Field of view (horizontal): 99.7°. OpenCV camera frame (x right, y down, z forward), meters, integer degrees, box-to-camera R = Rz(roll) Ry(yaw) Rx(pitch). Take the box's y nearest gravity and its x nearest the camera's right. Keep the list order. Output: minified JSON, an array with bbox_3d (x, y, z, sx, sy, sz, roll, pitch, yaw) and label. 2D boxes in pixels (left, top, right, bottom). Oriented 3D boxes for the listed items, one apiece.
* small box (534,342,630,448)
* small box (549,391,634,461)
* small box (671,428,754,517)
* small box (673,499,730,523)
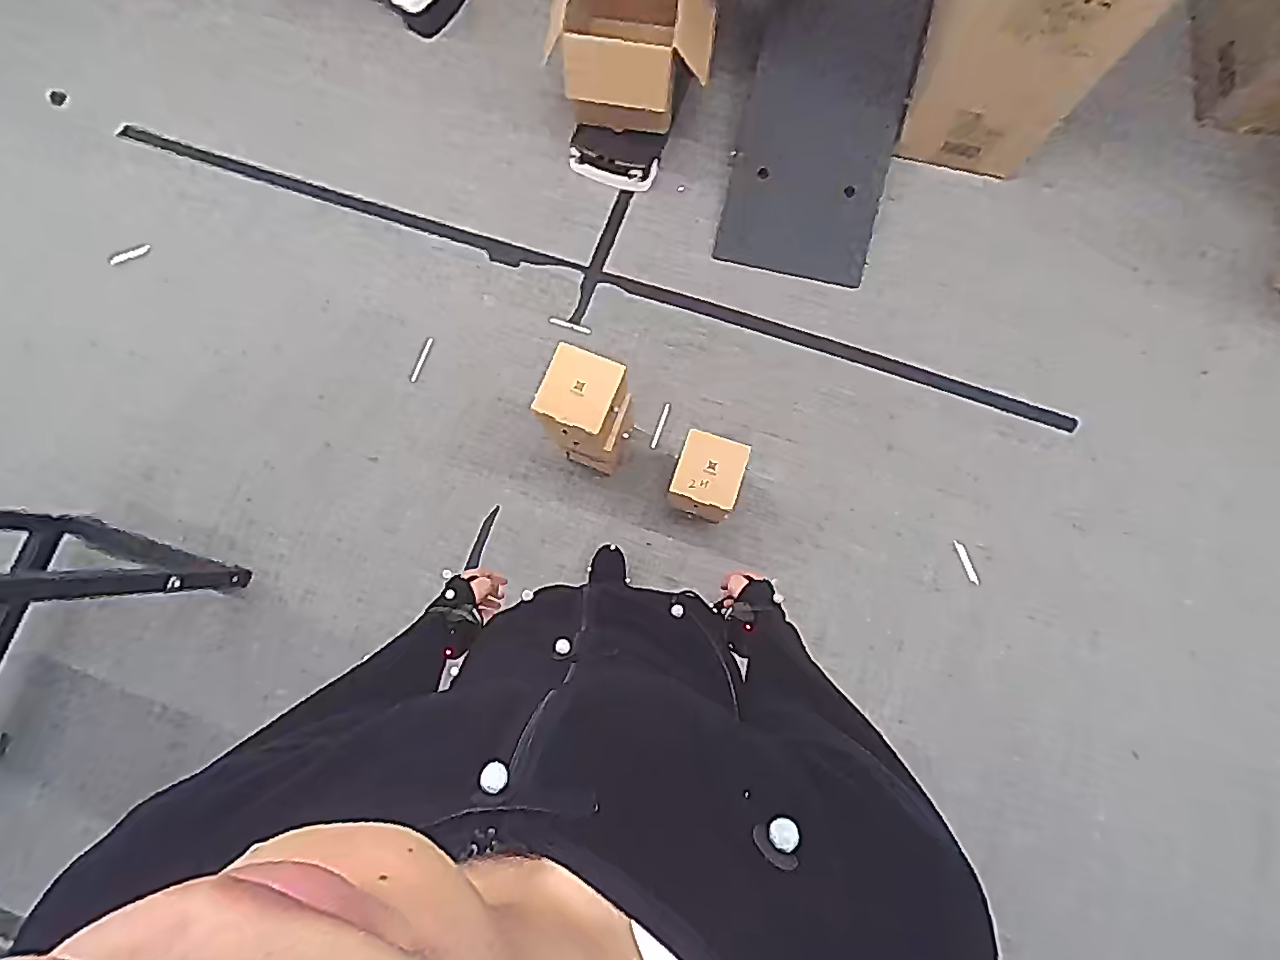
[{"bbox_3d":[-0.132,-0.195,1.289,0.168,0.176,0.179,22,83,3],"label":"small box"},{"bbox_3d":[-0.123,-0.161,1.448,0.179,0.176,0.168,20,82,2],"label":"small box"},{"bbox_3d":[0.183,-0.013,1.425,0.168,0.176,0.179,19,83,5],"label":"small box"},{"bbox_3d":[0.196,0.017,1.586,0.168,0.176,0.179,17,83,5],"label":"small box"}]
